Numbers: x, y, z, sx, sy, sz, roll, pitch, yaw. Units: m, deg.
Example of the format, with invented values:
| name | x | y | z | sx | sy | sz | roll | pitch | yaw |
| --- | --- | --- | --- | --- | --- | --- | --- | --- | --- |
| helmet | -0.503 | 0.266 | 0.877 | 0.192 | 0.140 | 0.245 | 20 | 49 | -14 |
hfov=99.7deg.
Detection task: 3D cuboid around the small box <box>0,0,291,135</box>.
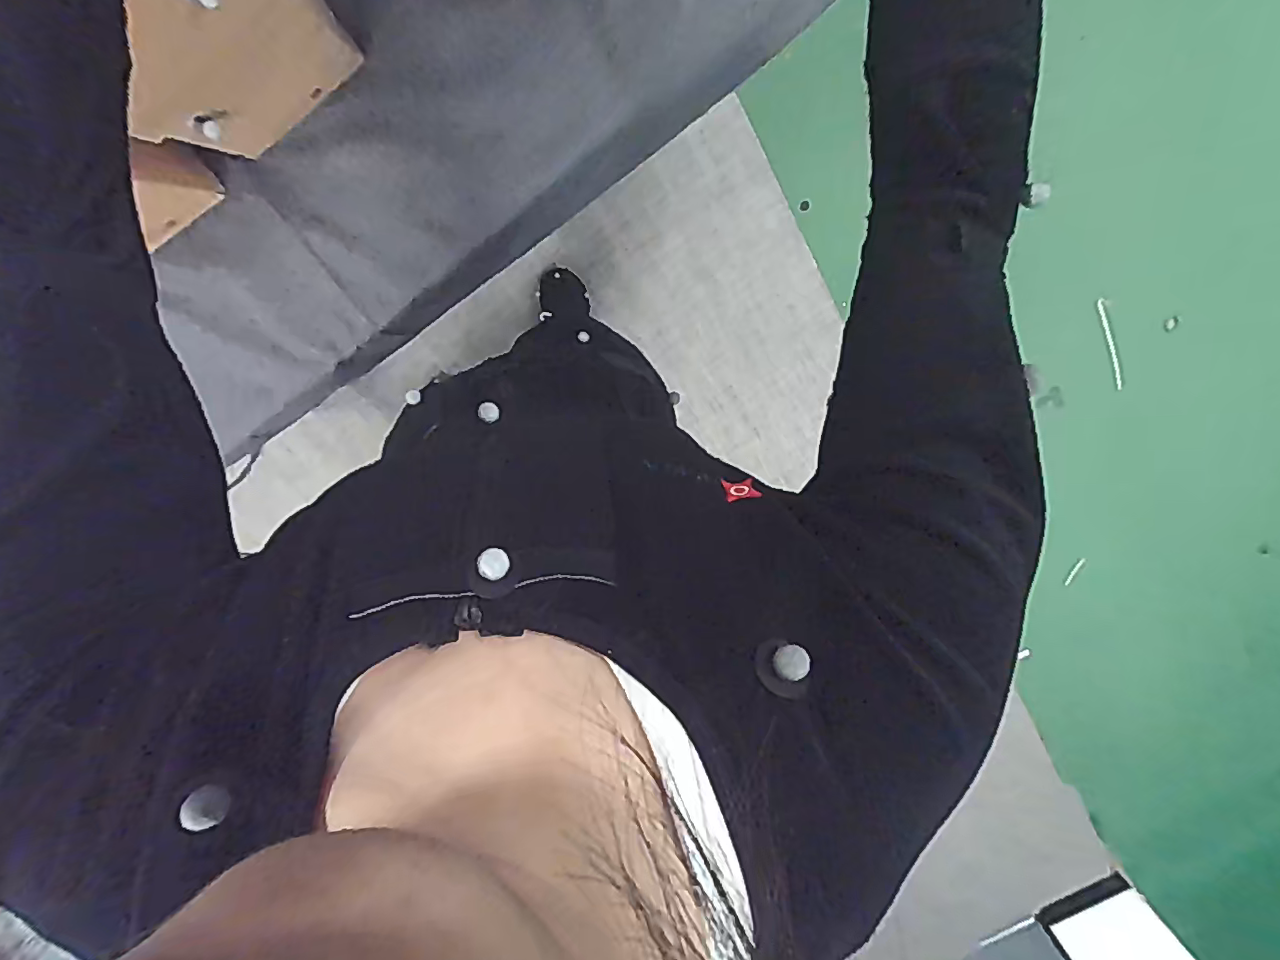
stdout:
| name | x | y | z | sx | sy | sz | roll | pitch | yaw |
| --- | --- | --- | --- | --- | --- | --- | --- | --- | --- |
| small box | -0.355 | -0.351 | 0.325 | 0.179 | 0.176 | 0.168 | -36 | 112 | 9 |
